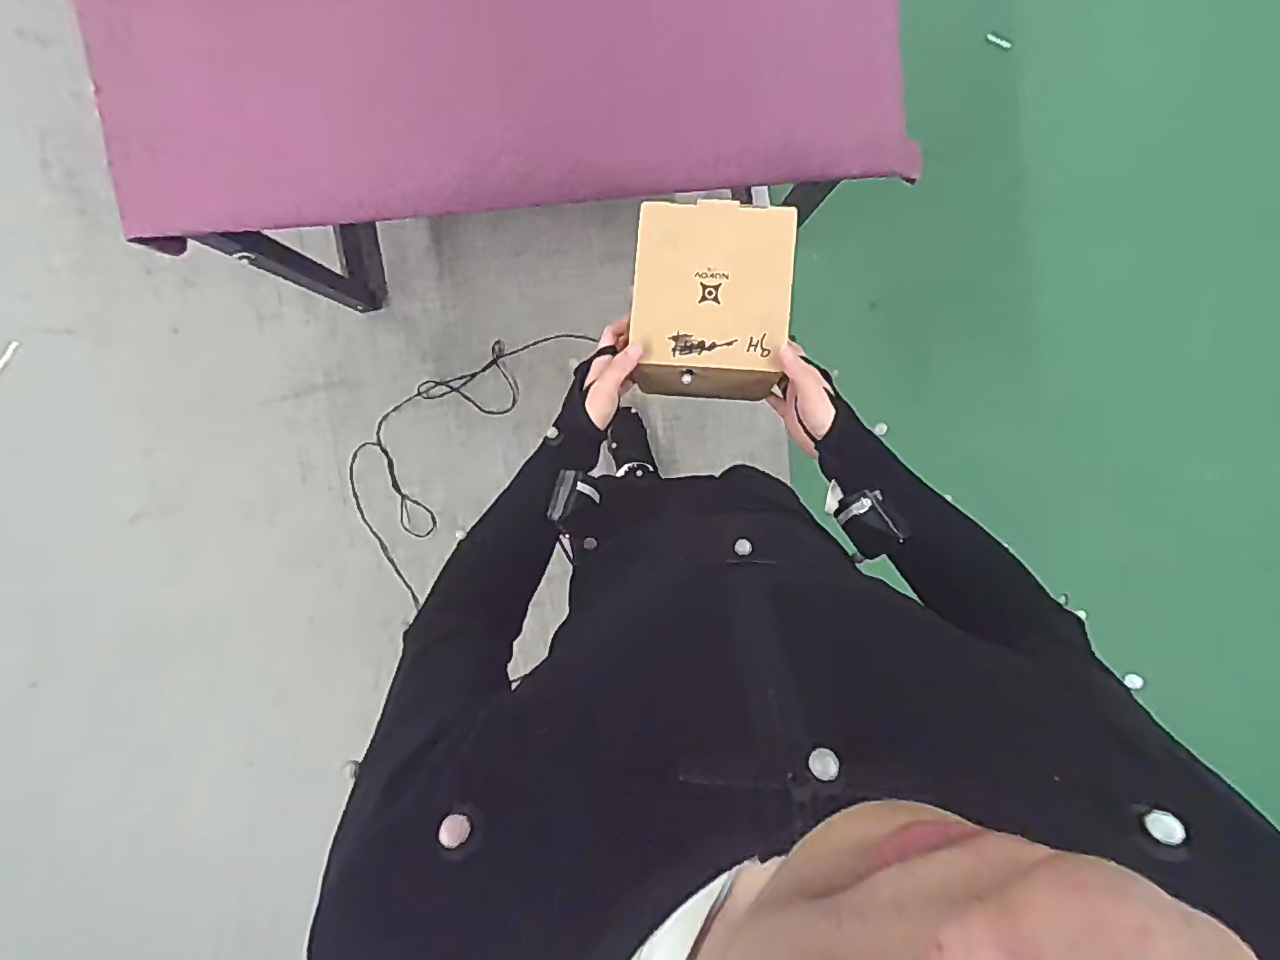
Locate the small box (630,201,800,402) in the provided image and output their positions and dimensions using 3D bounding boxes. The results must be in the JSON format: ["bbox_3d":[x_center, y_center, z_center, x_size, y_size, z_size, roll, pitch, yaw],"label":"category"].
[{"bbox_3d":[0.084,-0.200,0.647,0.168,0.176,0.179,5,89,4],"label":"small box"}]
